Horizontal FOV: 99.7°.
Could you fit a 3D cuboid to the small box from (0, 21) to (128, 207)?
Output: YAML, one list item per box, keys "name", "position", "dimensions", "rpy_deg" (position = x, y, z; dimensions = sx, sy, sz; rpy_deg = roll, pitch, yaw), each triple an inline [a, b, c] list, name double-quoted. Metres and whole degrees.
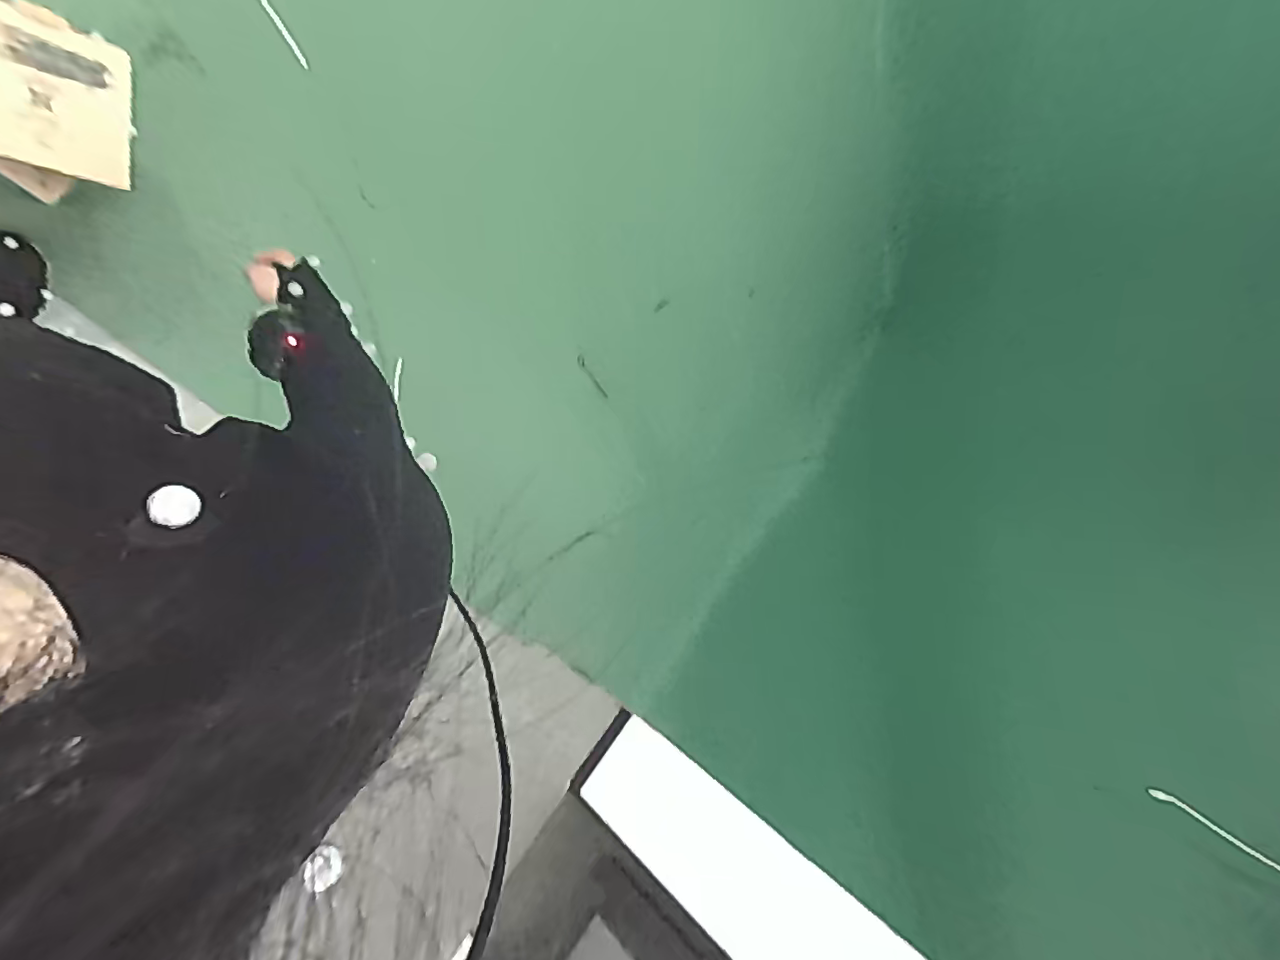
- name: "small box"
  position: [-0.952, -0.550, 0.827]
  dimensions: [0.179, 0.176, 0.168]
  rpy_deg: [-57, 142, -11]
